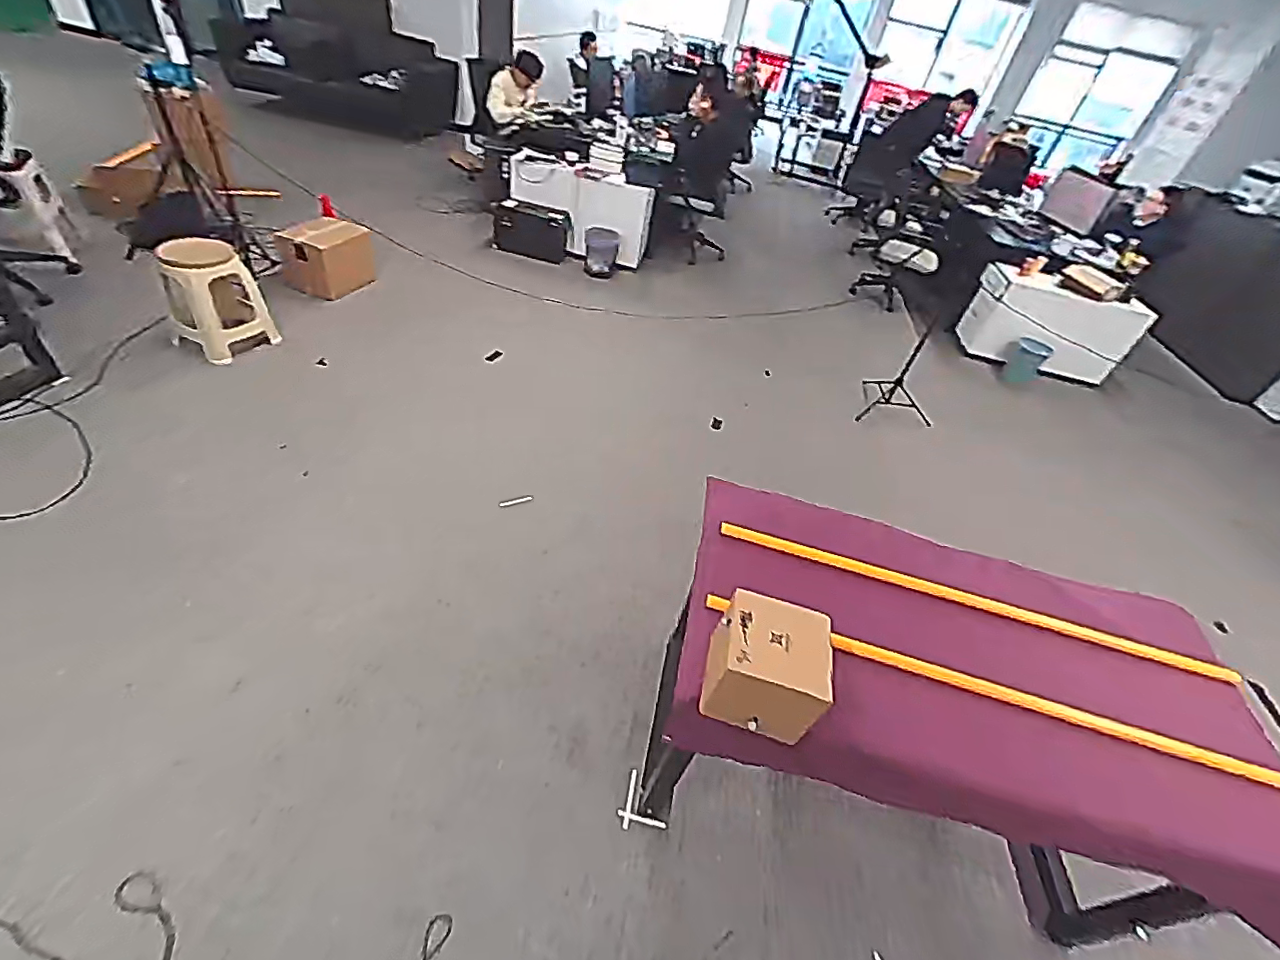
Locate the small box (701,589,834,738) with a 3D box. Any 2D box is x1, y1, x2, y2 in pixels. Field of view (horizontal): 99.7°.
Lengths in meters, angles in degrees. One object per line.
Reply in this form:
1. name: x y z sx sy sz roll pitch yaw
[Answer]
1. small box: 0.223 0.328 0.953 0.179 0.176 0.168 18 42 3
